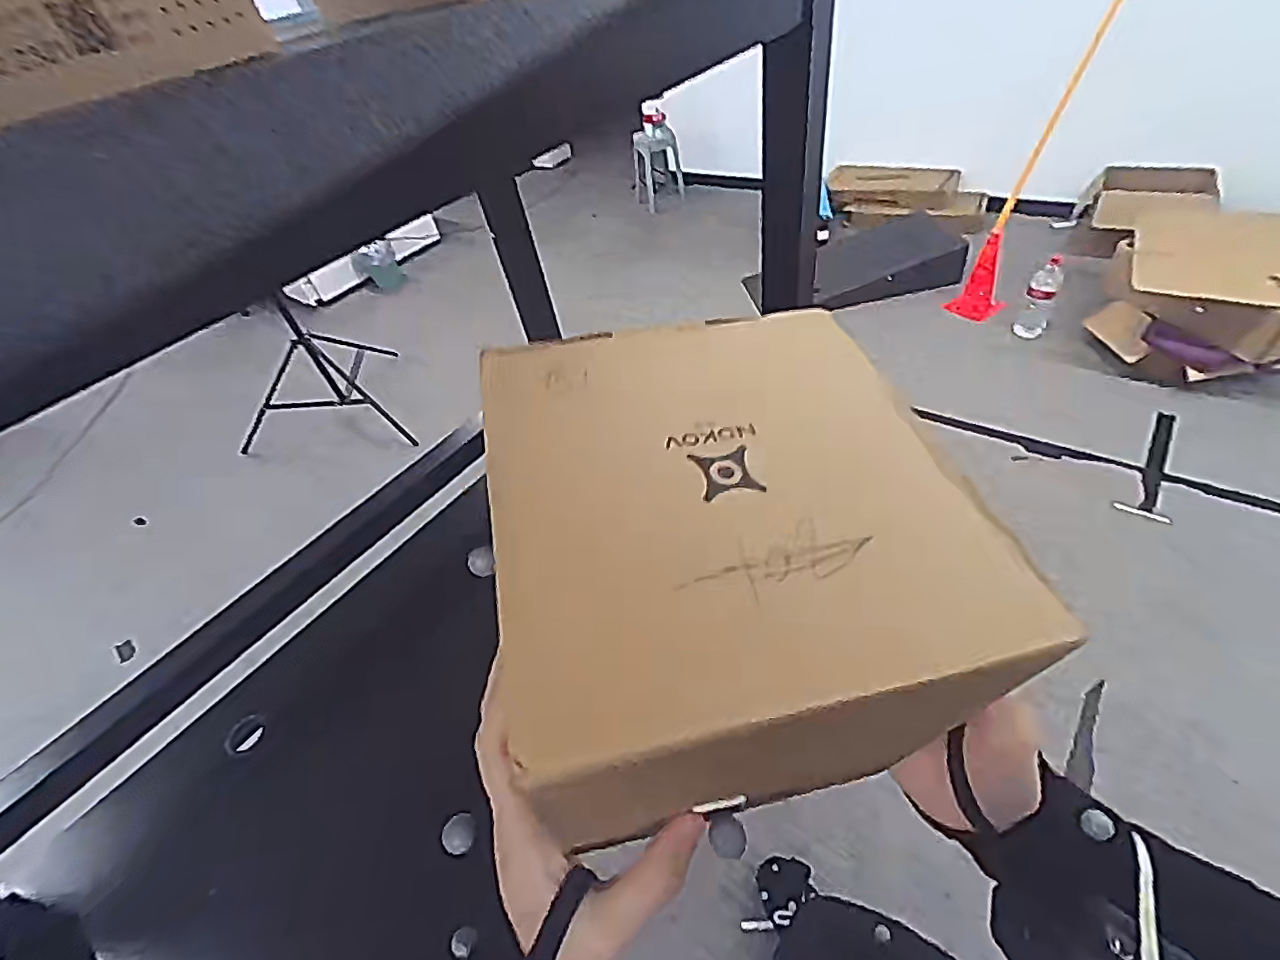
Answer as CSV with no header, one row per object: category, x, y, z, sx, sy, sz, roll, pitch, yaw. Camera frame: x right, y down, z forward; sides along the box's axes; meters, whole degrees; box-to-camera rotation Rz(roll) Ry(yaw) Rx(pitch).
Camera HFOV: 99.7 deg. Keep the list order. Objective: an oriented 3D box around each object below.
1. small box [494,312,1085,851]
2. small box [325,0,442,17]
small box,0.031,0.047,0.258,0.168,0.176,0.179,-11,51,-9
small box,-0.116,-0.392,0.308,0.179,0.176,0.168,25,57,32
